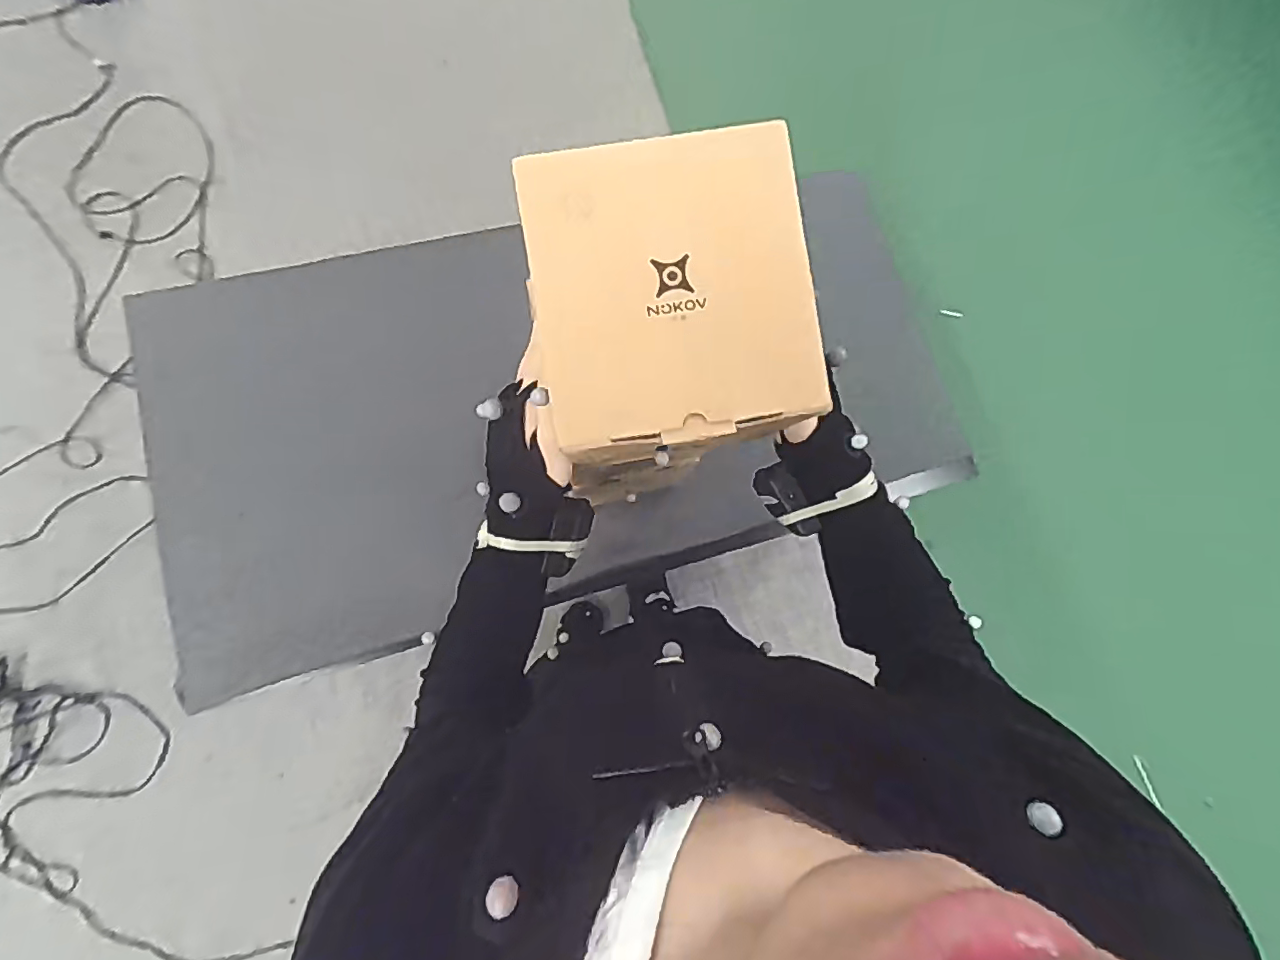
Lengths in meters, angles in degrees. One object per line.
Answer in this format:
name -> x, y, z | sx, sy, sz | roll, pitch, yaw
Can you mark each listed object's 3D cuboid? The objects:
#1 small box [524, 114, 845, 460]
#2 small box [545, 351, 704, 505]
small box -> 0.022, -0.115, 0.390 | 0.168, 0.176, 0.179 | -10, 90, -2
small box -> -0.029, -0.077, 0.745 | 0.168, 0.176, 0.179 | -14, 81, -9
